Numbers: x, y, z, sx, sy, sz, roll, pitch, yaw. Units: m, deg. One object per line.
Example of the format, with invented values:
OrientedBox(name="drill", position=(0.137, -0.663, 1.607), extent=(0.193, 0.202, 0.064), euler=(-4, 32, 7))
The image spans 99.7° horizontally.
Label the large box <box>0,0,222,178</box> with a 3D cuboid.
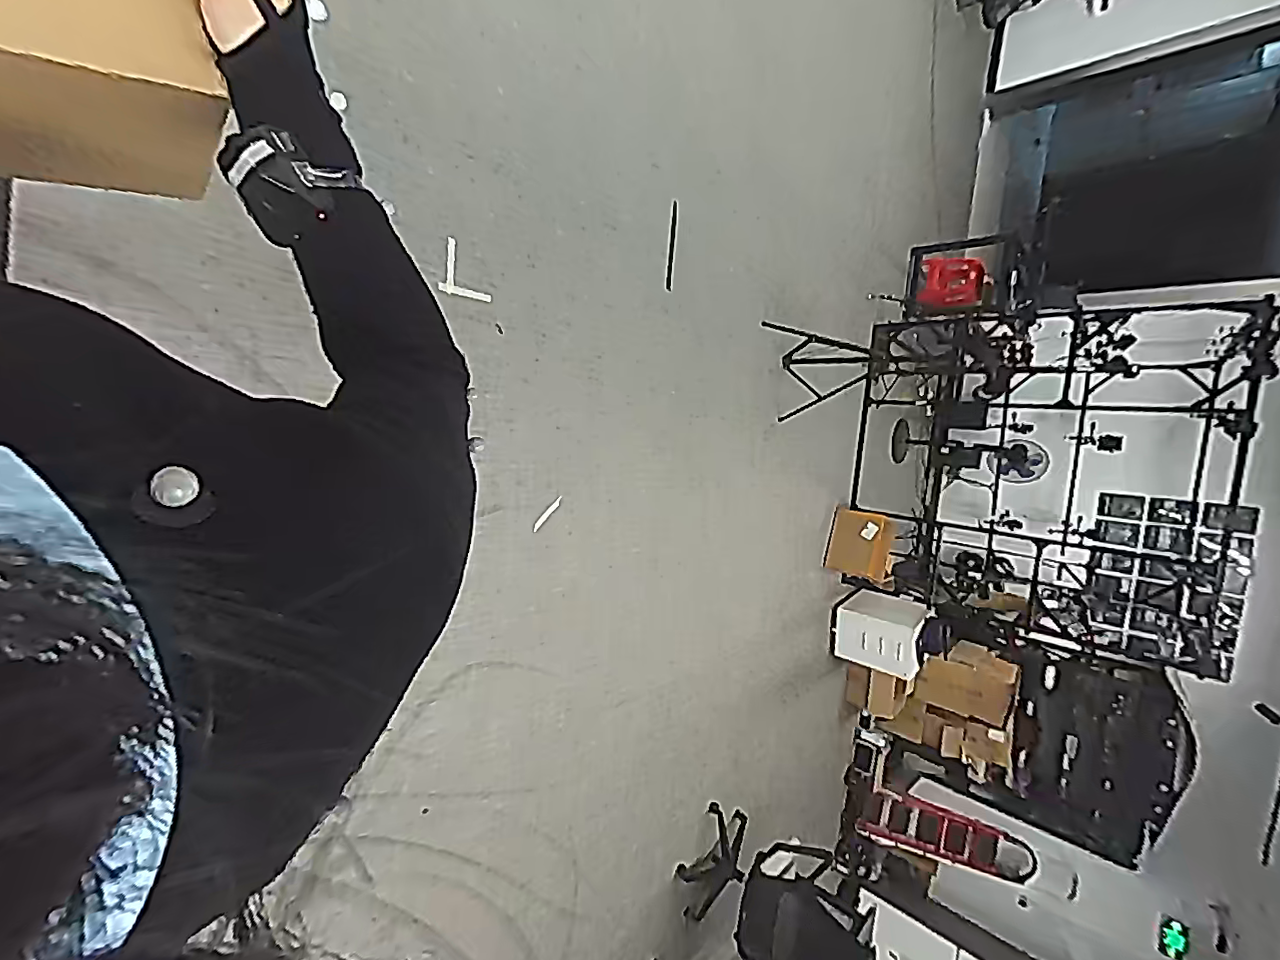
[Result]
OrientedBox(name="large box", position=(-0.547, -0.415, 0.333), extent=(0.408, 0.320, 0.320), euler=(-13, 107, -39))
